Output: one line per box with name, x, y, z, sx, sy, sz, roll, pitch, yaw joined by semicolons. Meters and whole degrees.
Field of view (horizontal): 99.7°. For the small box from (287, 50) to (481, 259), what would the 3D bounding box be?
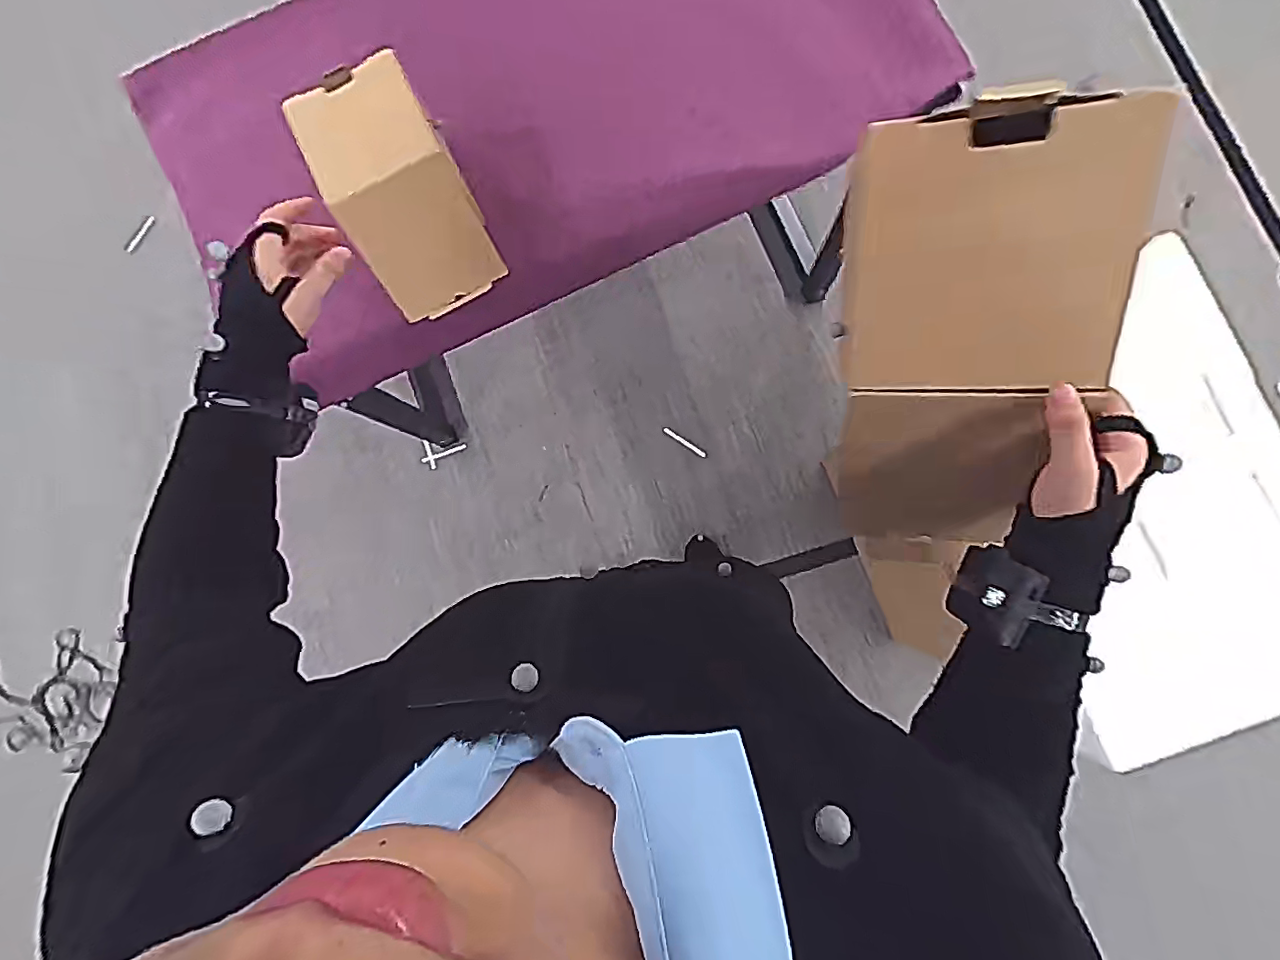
small box;-0.358;-0.454;0.789;0.168;0.176;0.179;-26;81;0
